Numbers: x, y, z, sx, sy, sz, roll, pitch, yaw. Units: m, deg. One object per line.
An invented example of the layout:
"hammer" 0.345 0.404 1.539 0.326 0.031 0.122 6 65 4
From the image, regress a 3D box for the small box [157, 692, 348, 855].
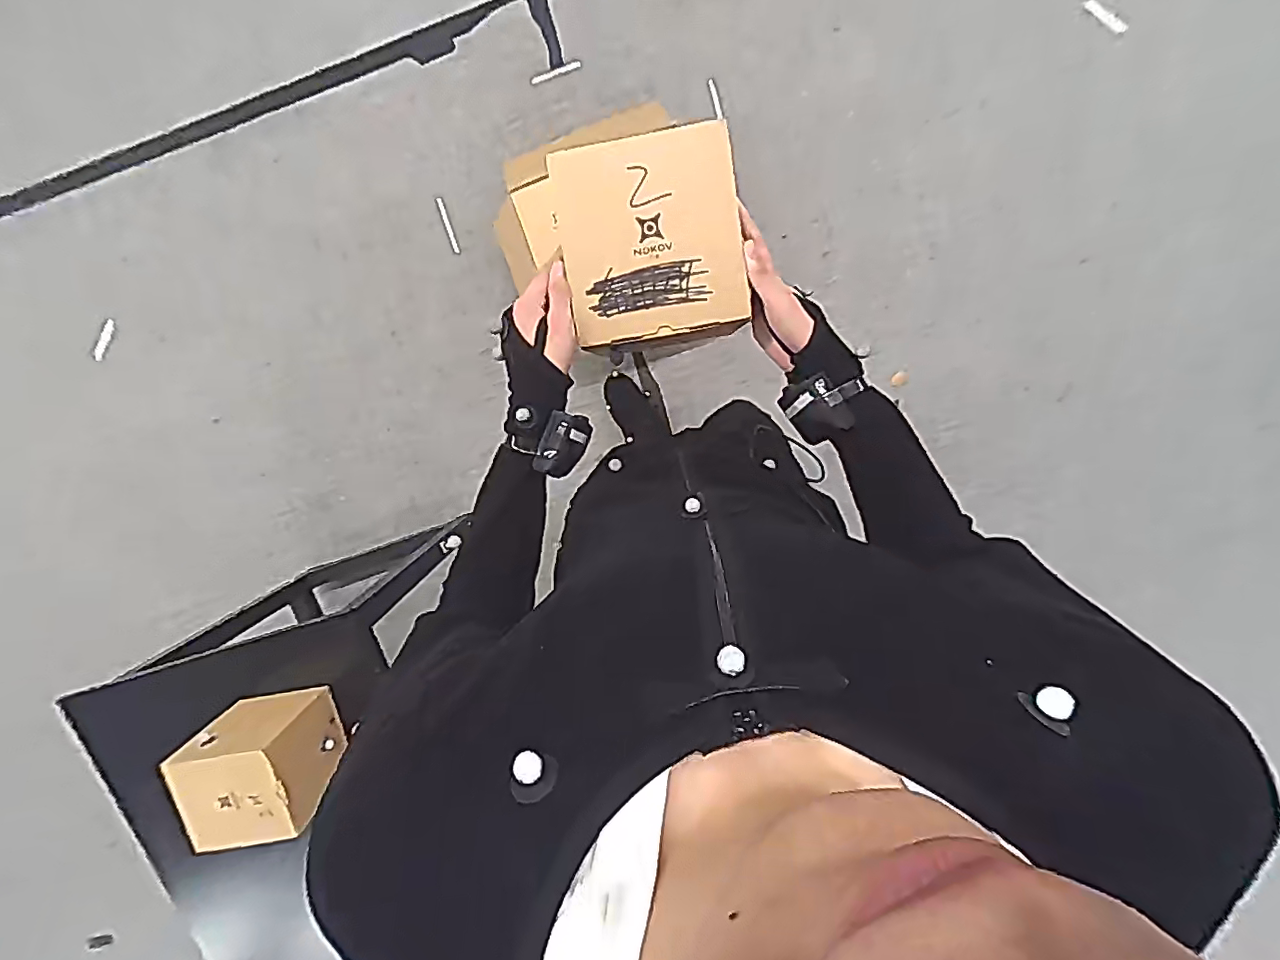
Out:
"small box" -0.639 0.486 0.914 0.179 0.176 0.168 -10 102 3
